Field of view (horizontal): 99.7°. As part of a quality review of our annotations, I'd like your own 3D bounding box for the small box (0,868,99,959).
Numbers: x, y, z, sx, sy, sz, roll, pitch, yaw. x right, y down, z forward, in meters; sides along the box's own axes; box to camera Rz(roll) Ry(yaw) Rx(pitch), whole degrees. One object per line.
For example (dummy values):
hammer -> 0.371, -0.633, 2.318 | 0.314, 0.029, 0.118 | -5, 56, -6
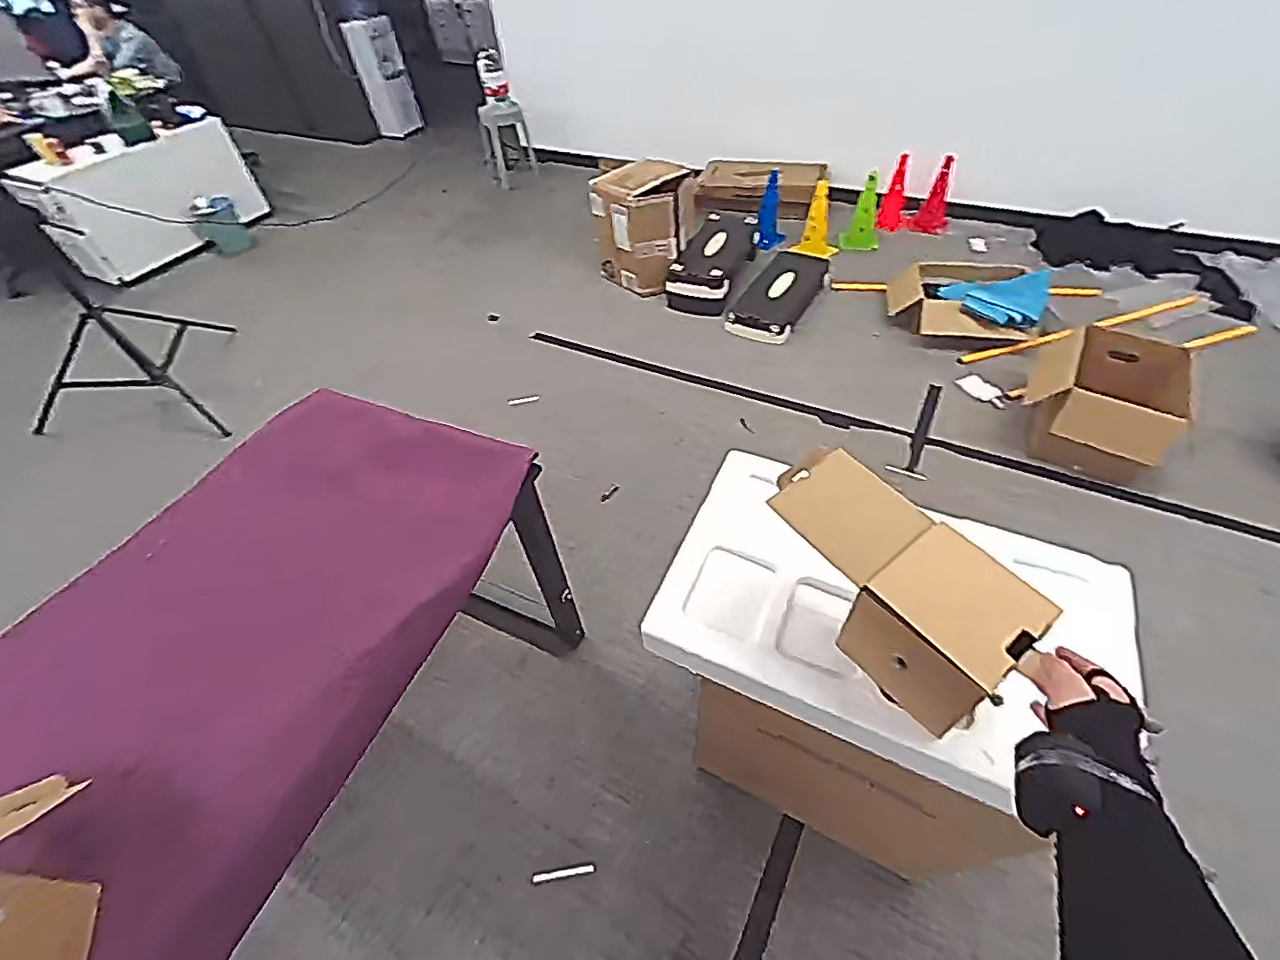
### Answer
small box -> -0.684, 0.513, 0.515 | 0.168, 0.176, 0.179 | -21, 49, -12
